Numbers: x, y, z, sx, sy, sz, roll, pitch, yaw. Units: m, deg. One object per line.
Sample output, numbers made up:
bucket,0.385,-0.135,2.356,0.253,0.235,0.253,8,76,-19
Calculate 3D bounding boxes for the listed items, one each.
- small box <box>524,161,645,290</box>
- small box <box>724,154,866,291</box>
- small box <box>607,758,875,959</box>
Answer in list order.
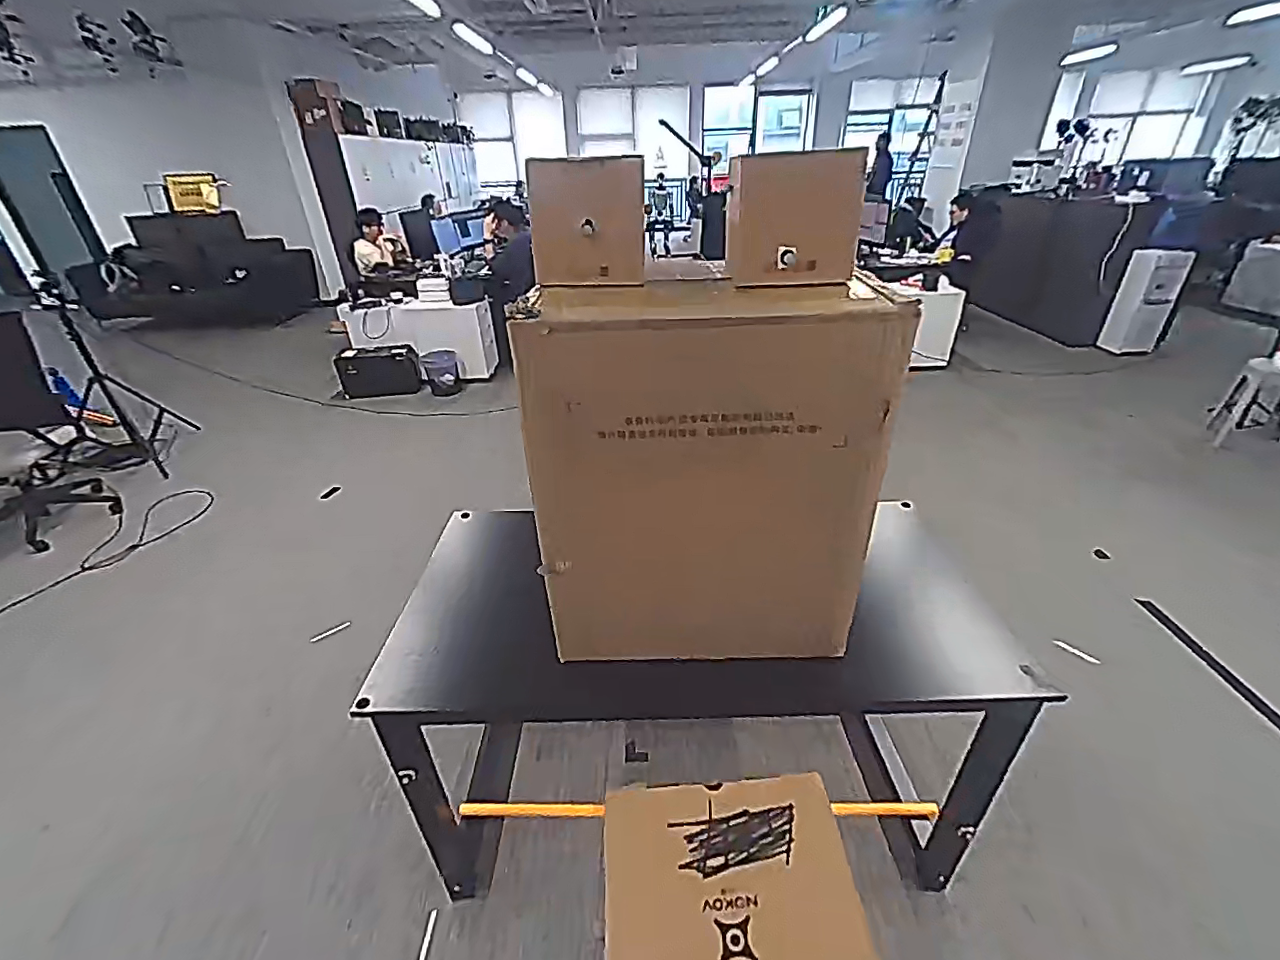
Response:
small box,-0.076,-0.400,0.851,0.168,0.176,0.179,0,30,0
small box,0.218,-0.385,0.812,0.168,0.176,0.179,-2,30,3
small box,0.062,0.338,0.401,0.168,0.176,0.179,-4,37,0
